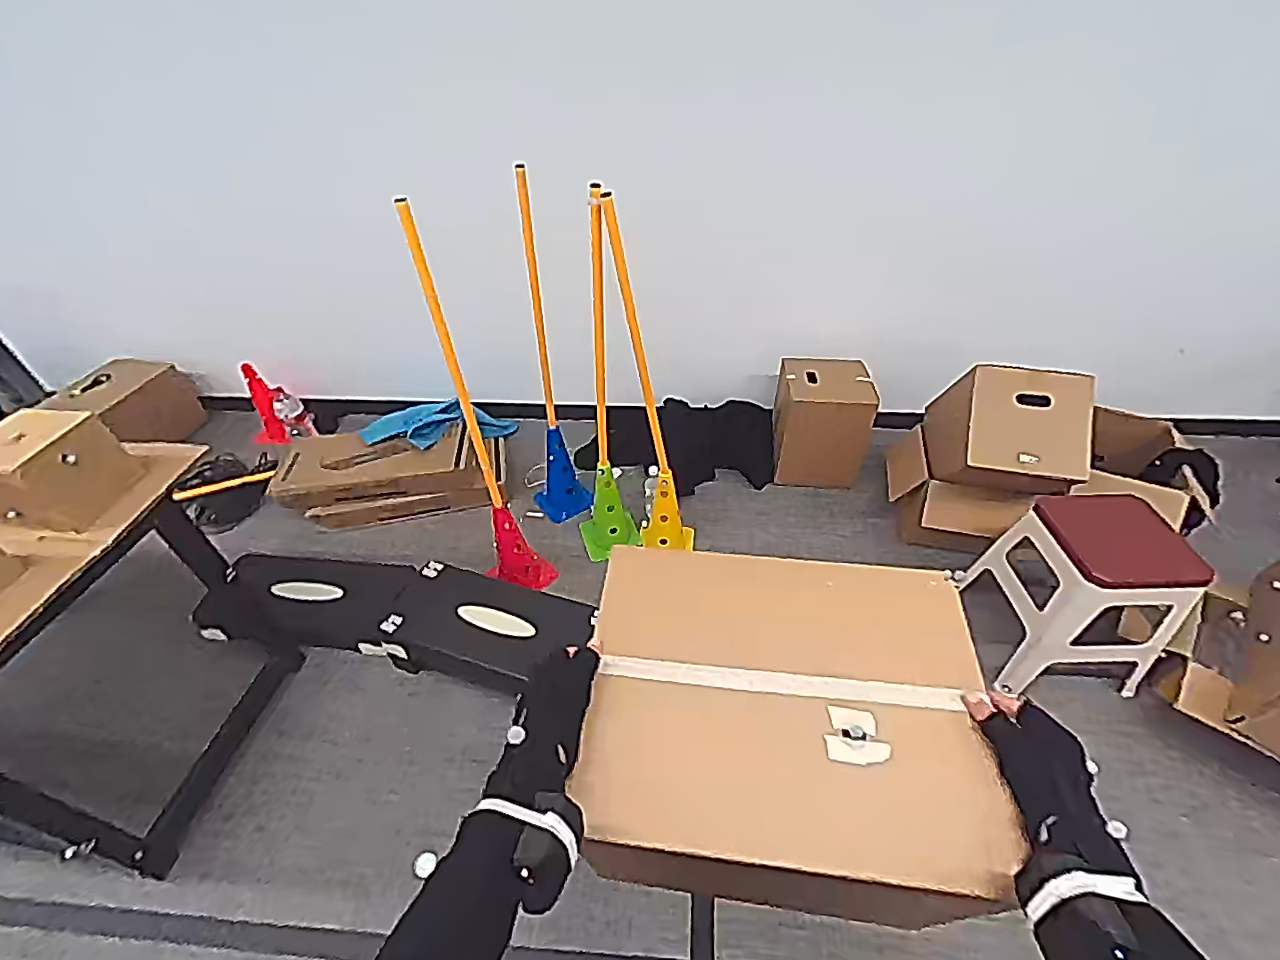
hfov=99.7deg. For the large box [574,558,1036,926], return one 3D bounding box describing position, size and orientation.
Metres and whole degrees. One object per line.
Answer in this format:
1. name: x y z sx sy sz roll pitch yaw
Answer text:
1. large box: 0.157 0.323 0.677 0.408 0.320 0.320 4 48 7
